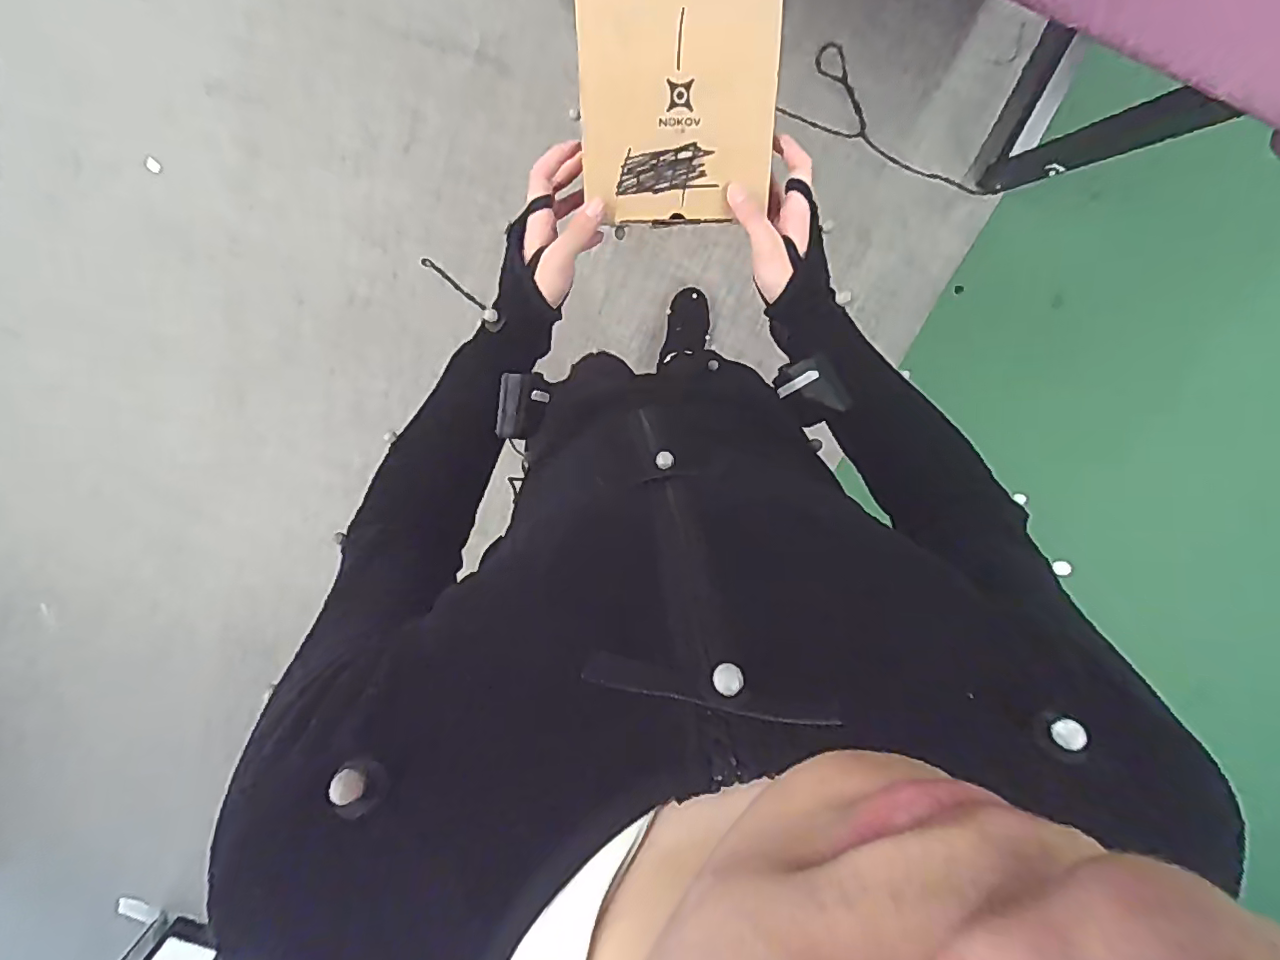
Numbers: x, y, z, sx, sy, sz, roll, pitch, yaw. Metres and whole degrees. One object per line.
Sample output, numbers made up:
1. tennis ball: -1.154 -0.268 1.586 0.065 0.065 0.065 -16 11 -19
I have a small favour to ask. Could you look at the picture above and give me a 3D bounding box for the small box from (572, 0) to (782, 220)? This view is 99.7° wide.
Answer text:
1. small box: 0.026 -0.347 0.516 0.168 0.176 0.179 -2 114 -3
